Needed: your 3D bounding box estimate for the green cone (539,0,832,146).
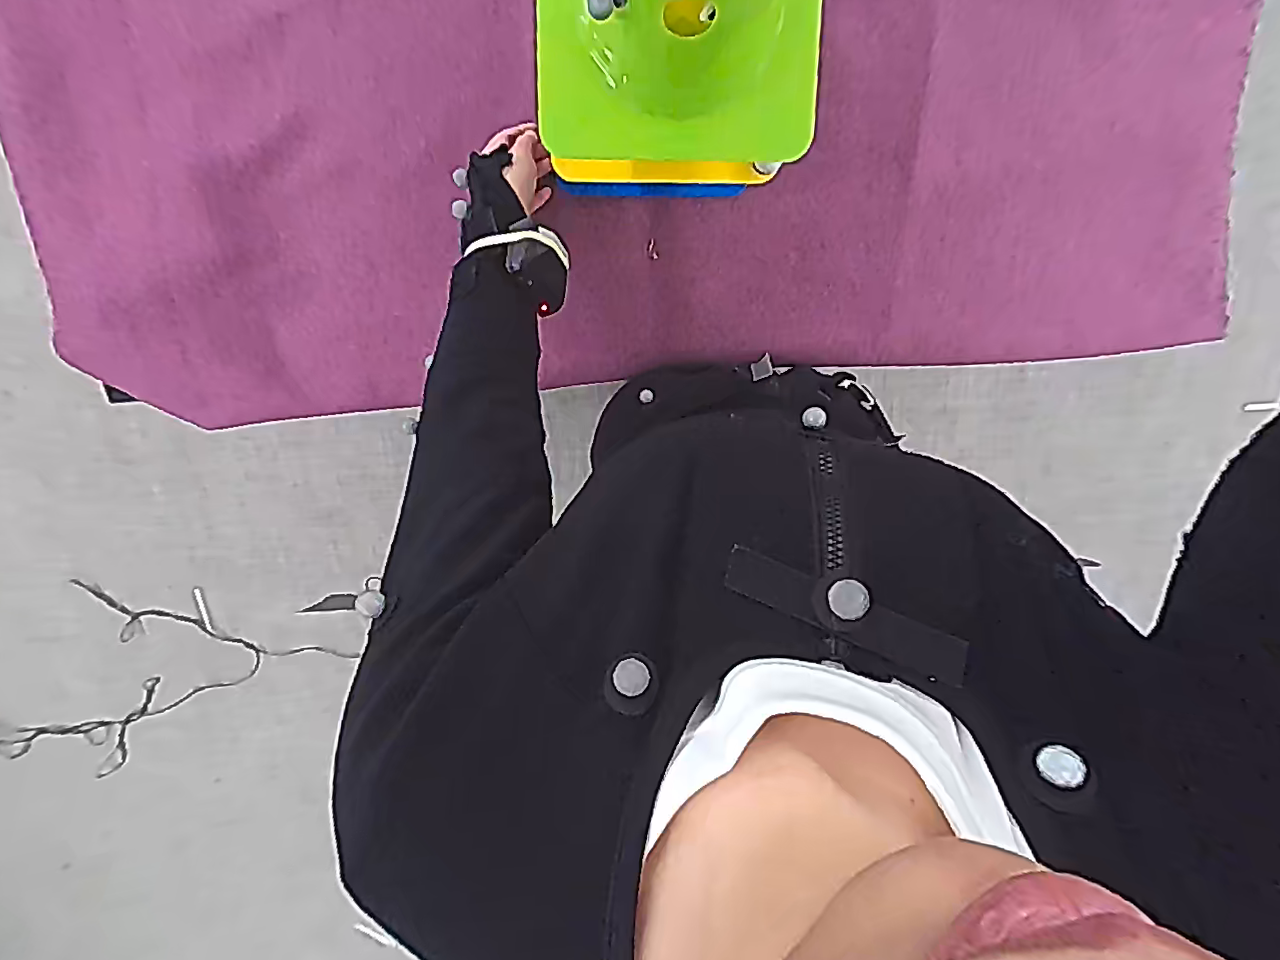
[{"bbox_3d":[0.031,-0.304,0.196,0.200,0.368,0.202,0,101,0],"label":"green cone"}]
